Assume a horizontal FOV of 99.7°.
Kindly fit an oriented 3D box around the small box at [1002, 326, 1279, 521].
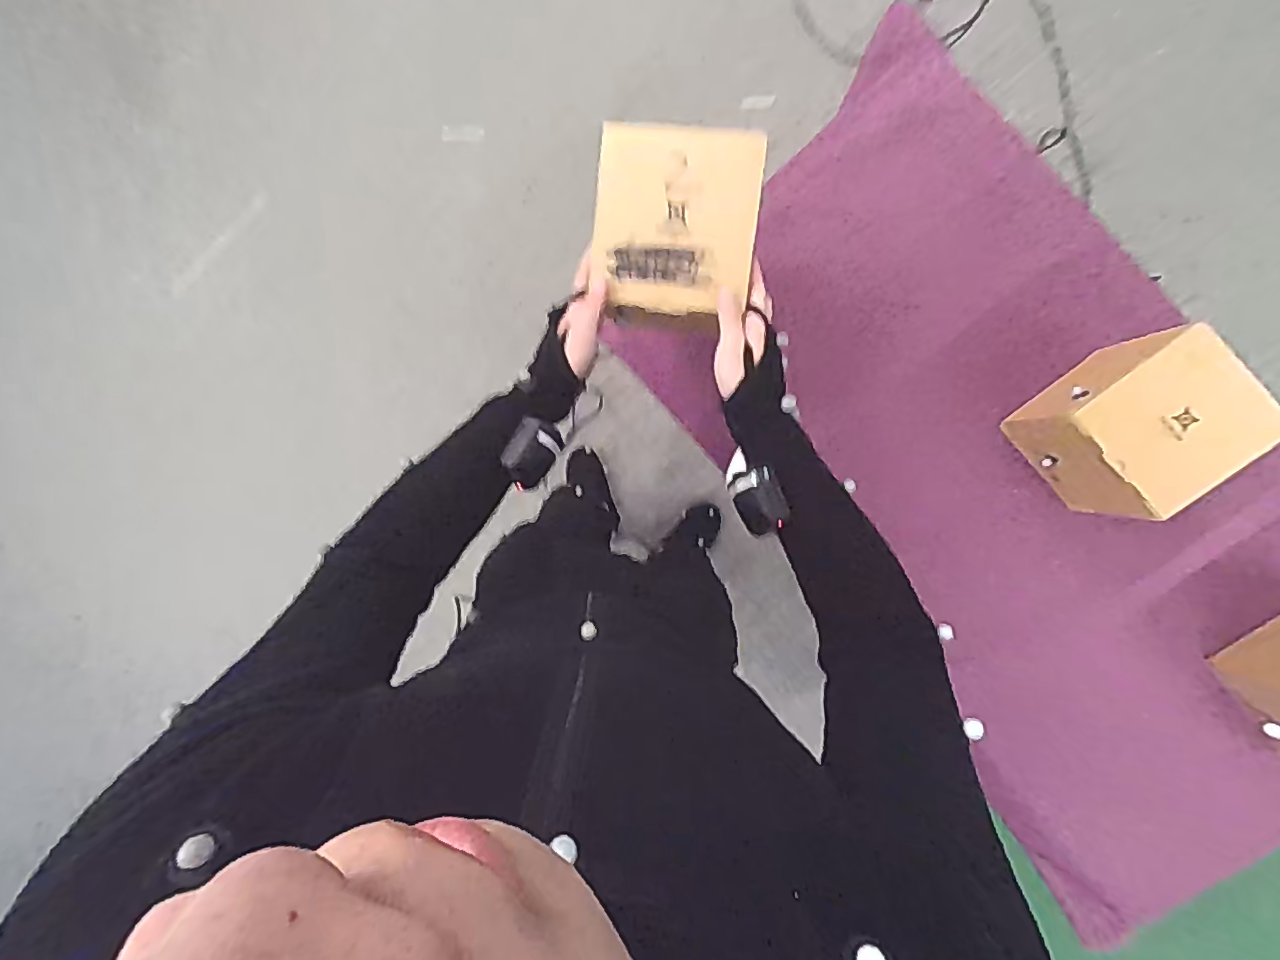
[{"bbox_3d":[0.641,-0.071,0.718,0.179,0.176,0.168,-39,87,8],"label":"small box"}]
